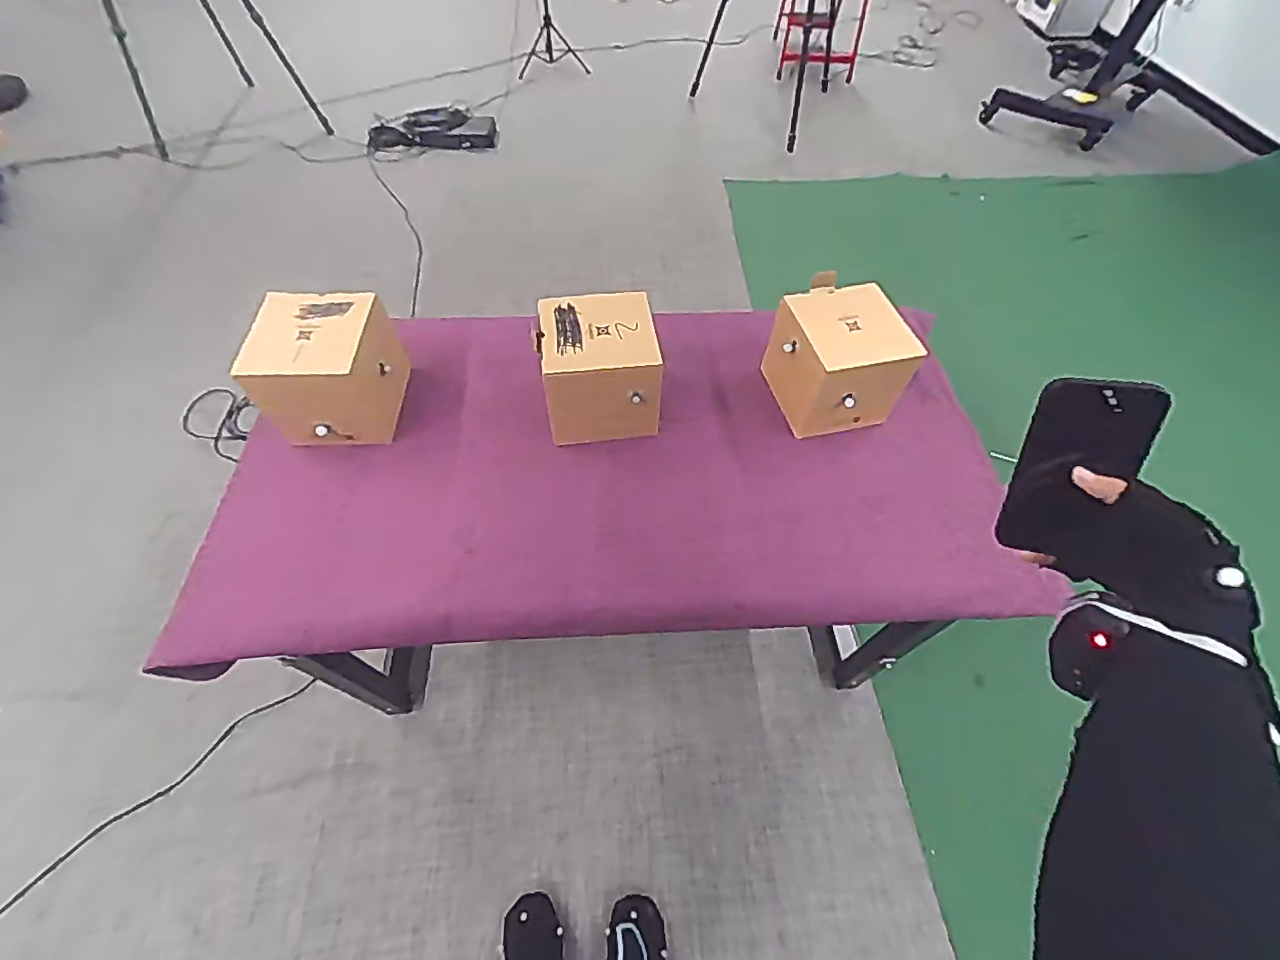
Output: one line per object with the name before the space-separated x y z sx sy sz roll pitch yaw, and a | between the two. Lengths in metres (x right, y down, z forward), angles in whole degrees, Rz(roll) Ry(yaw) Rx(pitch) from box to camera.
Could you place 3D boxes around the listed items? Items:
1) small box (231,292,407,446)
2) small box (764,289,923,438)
small box | -0.489 -0.174 0.859 0.168 0.176 0.179 -1 58 -3
small box | 0.324 -0.186 0.901 0.168 0.176 0.179 -10 57 -8
